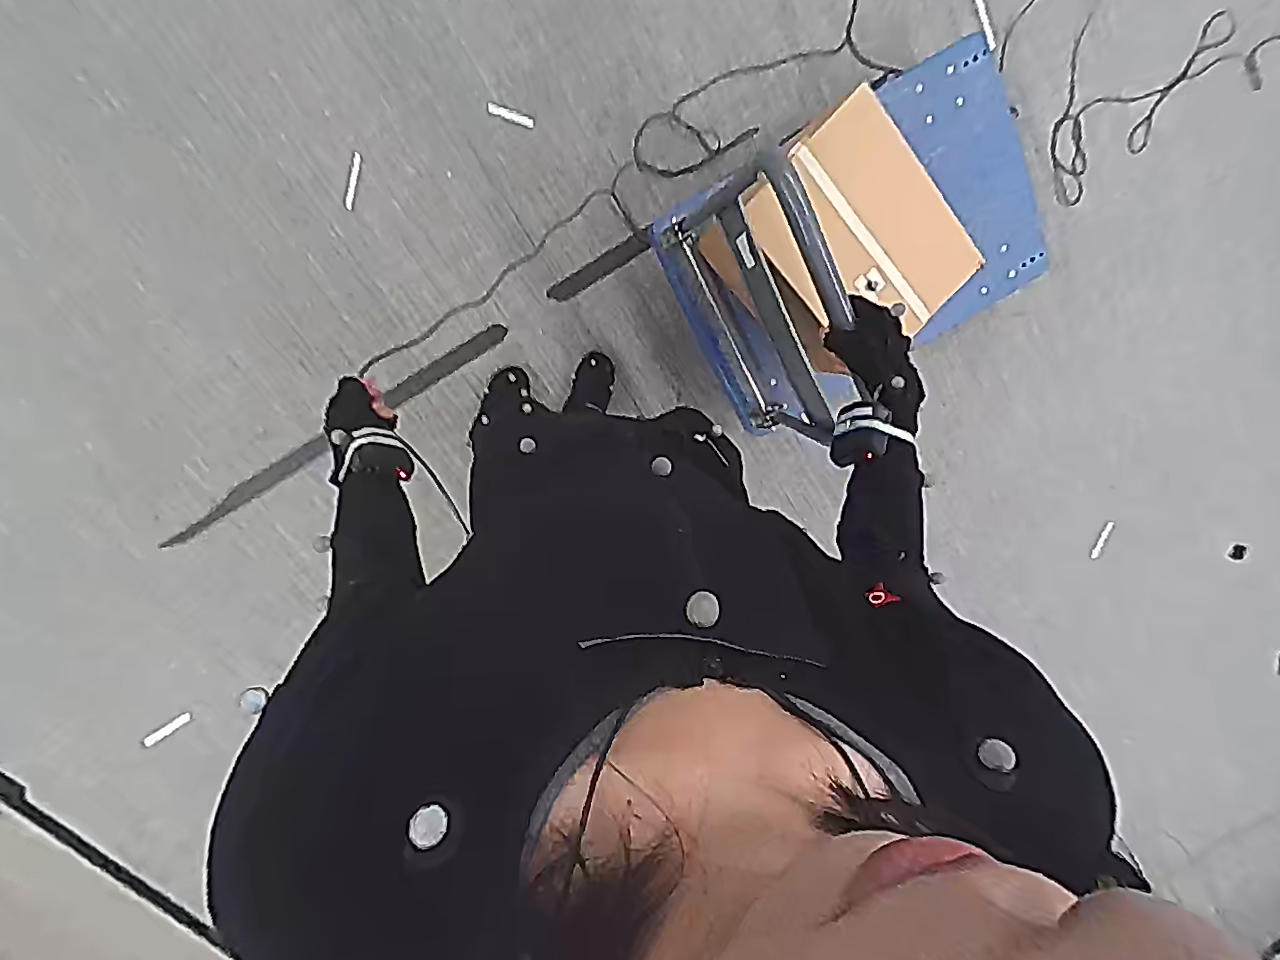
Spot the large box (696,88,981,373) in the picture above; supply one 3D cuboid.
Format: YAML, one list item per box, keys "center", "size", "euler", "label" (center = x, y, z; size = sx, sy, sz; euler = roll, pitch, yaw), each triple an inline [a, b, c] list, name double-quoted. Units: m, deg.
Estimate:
- center: [0.388, -0.479, 1.134]
  size: [0.408, 0.320, 0.320]
  euler: [43, 95, -17]
  label: "large box"
